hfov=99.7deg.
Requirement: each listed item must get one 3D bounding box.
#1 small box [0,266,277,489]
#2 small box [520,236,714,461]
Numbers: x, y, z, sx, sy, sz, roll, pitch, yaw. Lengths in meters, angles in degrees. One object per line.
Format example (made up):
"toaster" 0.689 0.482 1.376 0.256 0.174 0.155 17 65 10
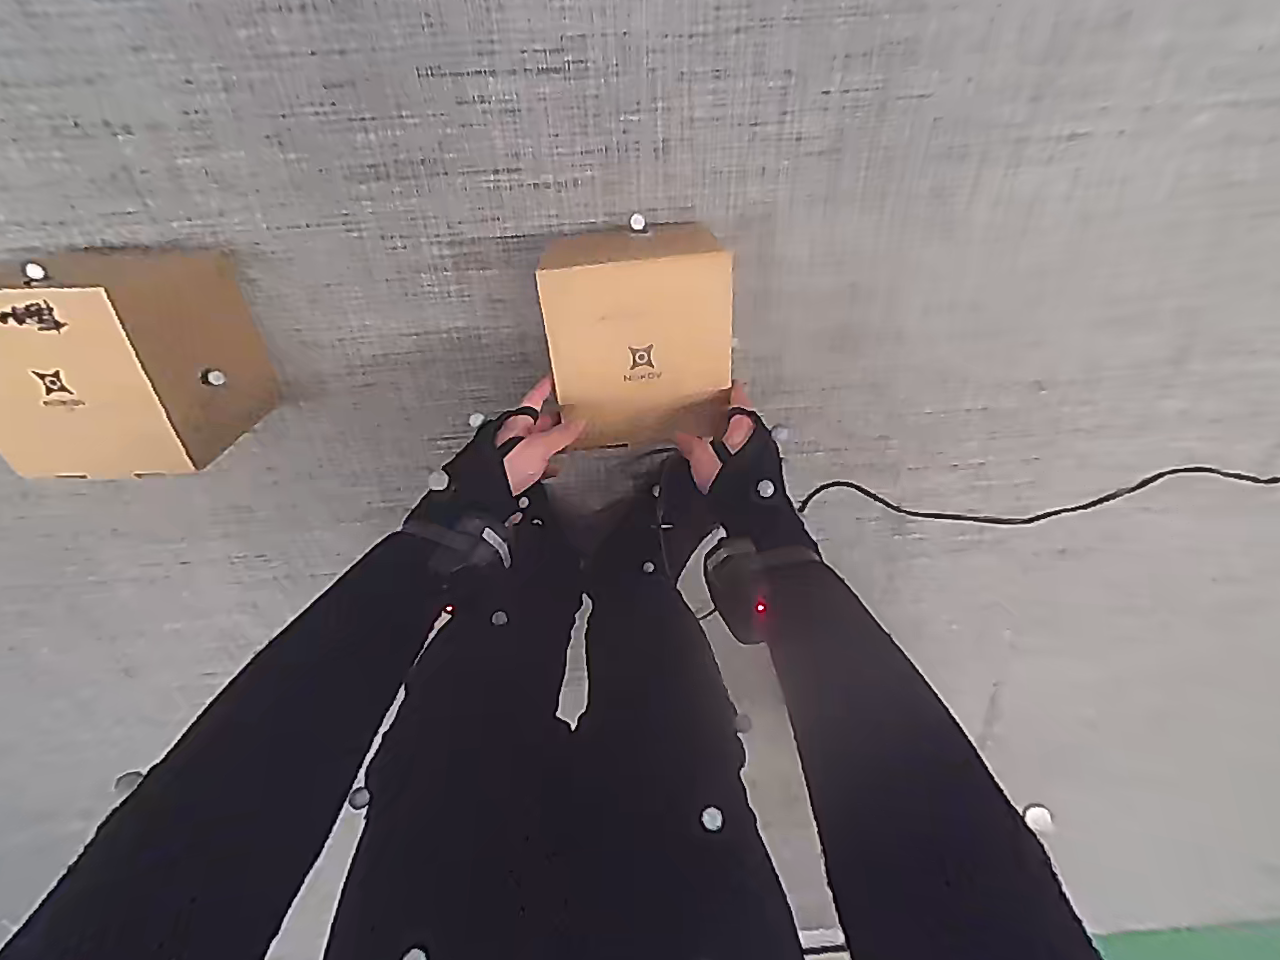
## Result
"small box" -0.519 -0.109 0.556 0.168 0.176 0.179 -2 123 -3
"small box" -0.018 -0.144 0.570 0.168 0.176 0.179 -8 122 0
